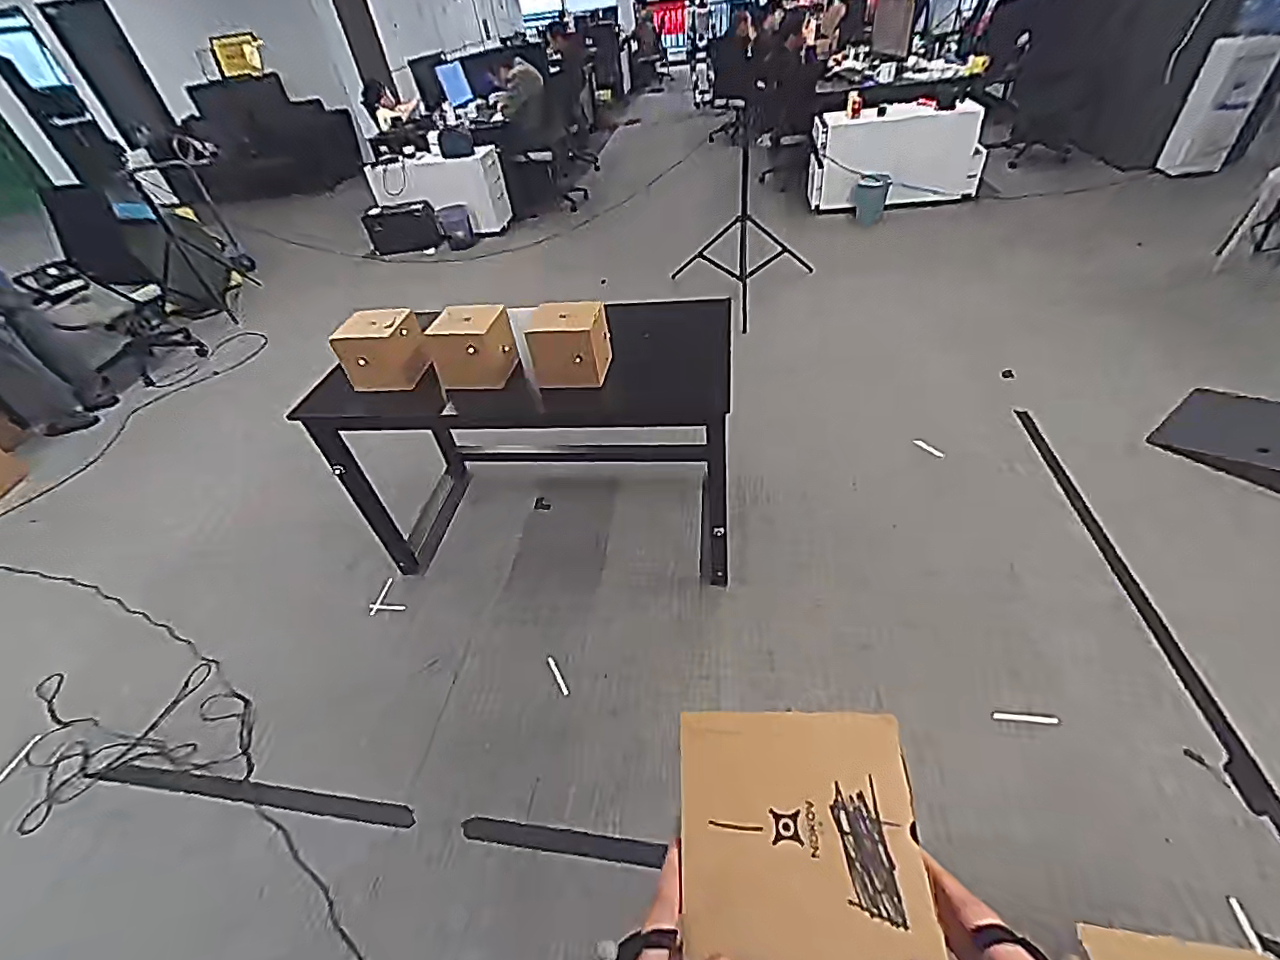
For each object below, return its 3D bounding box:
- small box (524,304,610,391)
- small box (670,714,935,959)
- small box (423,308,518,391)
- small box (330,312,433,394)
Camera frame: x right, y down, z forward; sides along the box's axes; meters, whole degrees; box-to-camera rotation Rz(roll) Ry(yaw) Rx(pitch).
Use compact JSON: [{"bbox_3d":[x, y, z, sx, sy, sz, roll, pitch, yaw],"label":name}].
[{"bbox_3d":[-0.186,-0.351,1.444,0.179,0.176,0.168,0,42,11],"label":"small box"},{"bbox_3d":[0.119,0.308,0.465,0.179,0.176,0.168,-2,54,7],"label":"small box"},{"bbox_3d":[-0.456,-0.357,1.491,0.179,0.176,0.168,1,43,11],"label":"small box"},{"bbox_3d":[-0.725,-0.357,1.536,0.179,0.176,0.168,-1,43,8],"label":"small box"}]
